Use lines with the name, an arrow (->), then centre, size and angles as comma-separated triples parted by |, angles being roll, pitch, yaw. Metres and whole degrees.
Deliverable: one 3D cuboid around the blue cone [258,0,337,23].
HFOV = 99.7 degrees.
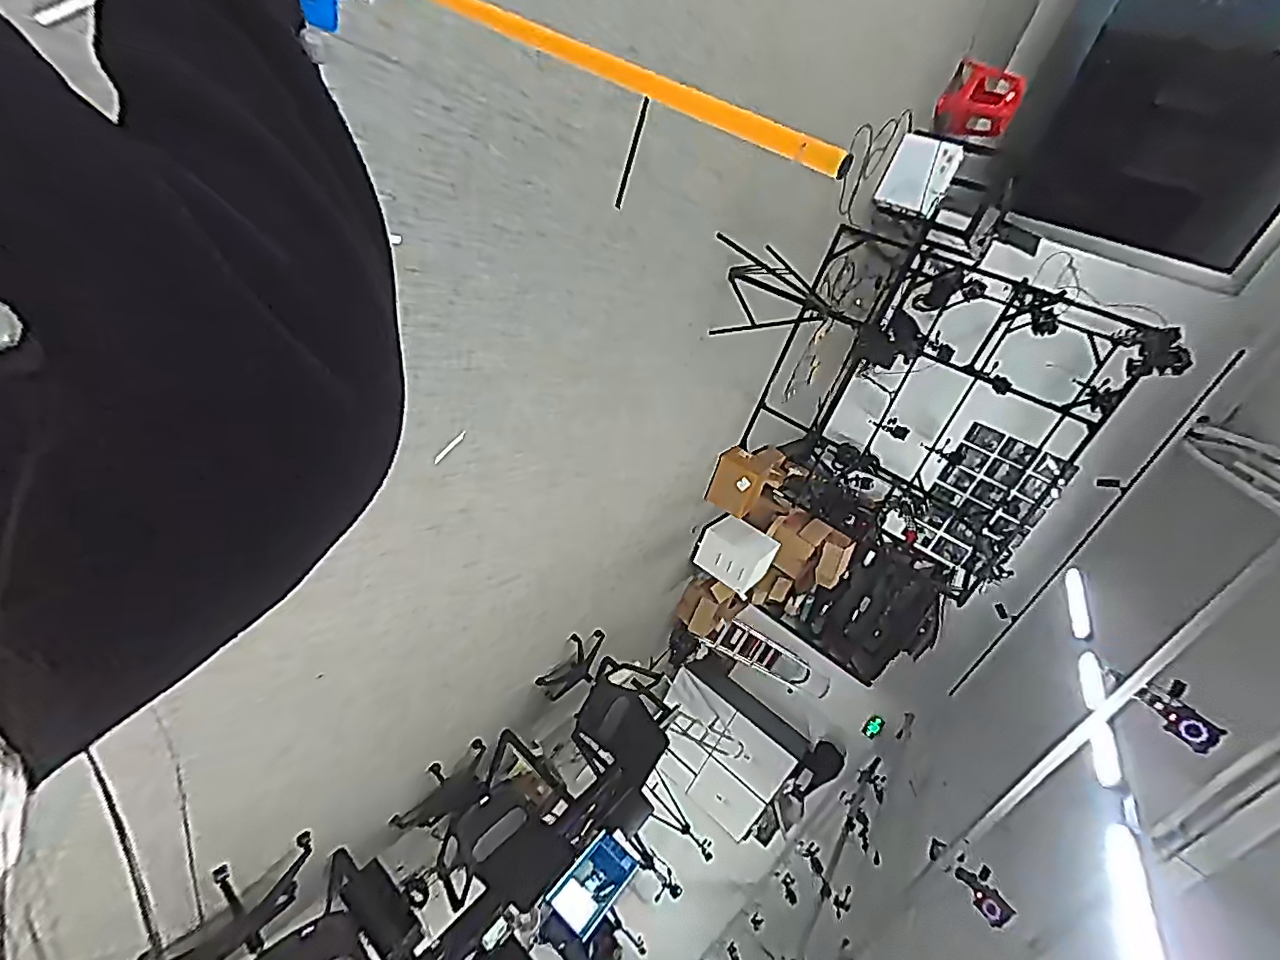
blue cone -> -0.539, -0.916, 0.944 | 0.193, 0.380, 0.192 | -23, 138, -51
